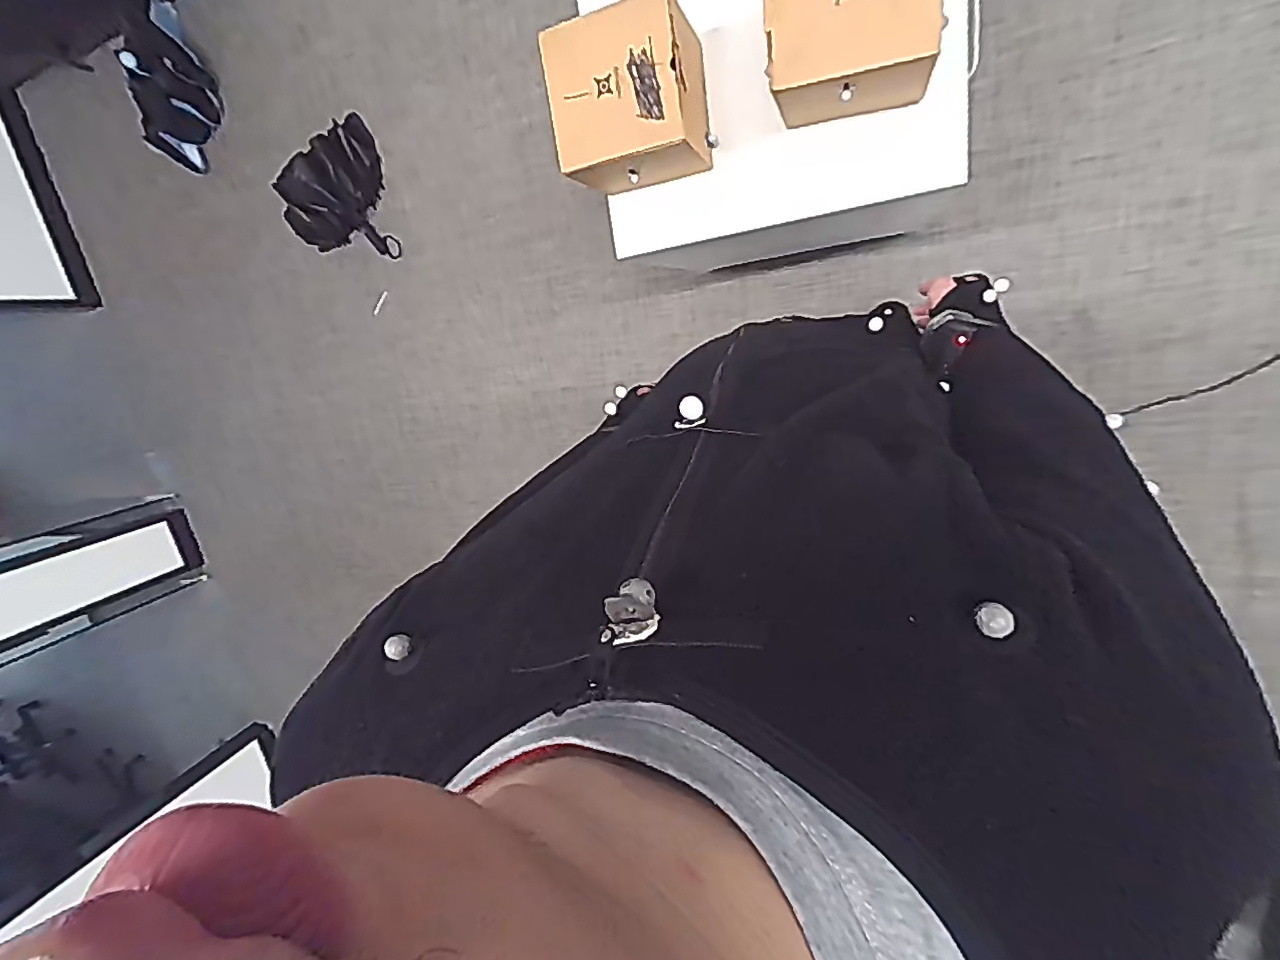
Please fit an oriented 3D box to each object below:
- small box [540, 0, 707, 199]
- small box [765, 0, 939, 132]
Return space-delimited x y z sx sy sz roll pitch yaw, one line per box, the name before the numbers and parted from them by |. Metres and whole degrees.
small box | -0.010 -0.508 0.750 0.179 0.176 0.168 -2 106 22
small box | 0.249 -0.539 0.642 0.179 0.176 0.168 1 109 21
